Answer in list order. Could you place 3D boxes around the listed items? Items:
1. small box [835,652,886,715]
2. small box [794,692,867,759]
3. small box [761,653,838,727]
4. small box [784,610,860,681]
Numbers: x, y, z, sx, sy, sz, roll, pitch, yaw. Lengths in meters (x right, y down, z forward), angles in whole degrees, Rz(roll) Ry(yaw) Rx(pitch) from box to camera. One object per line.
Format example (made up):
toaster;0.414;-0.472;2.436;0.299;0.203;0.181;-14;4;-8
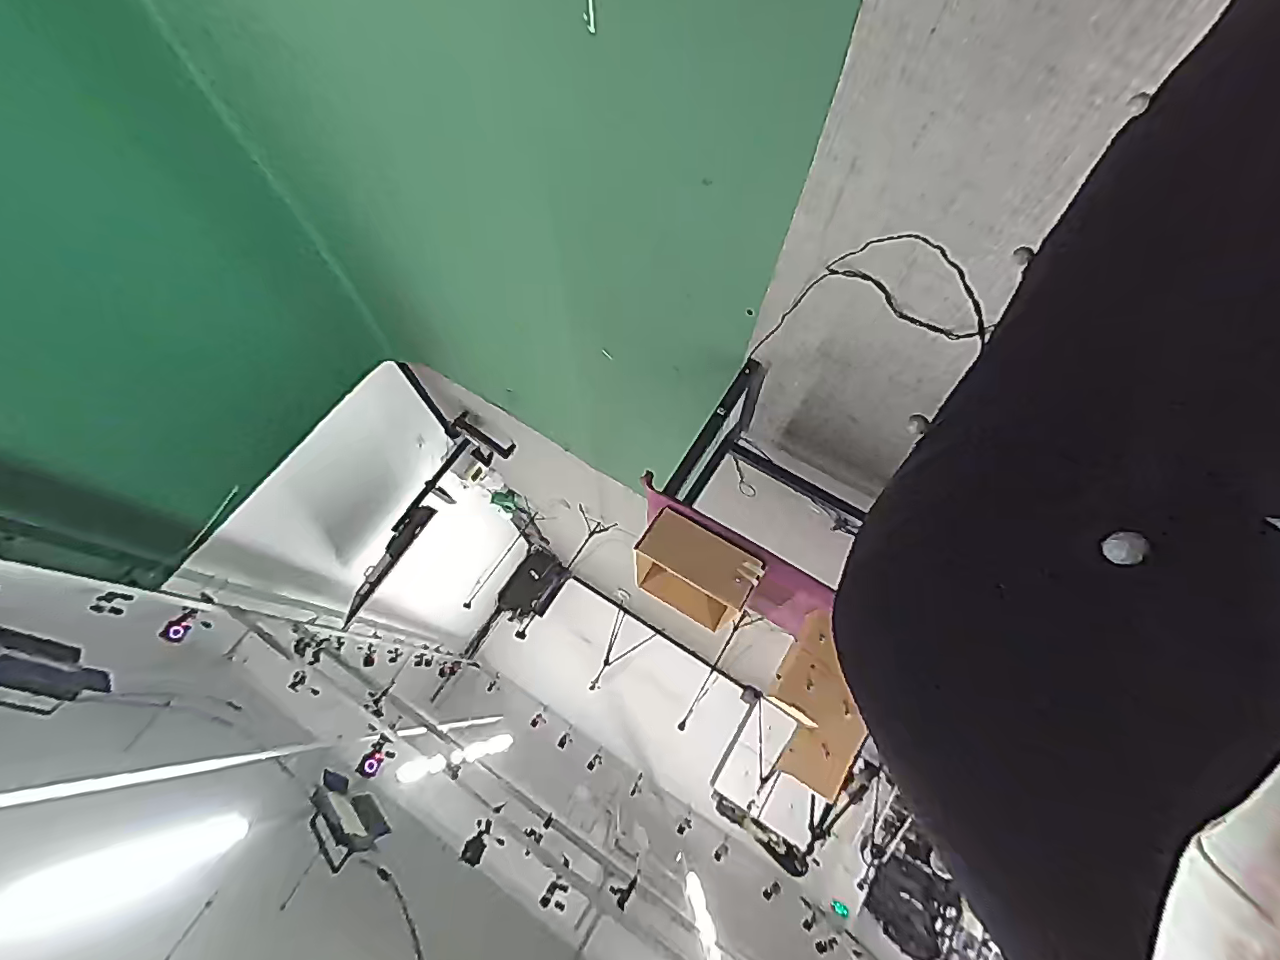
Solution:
small box;0.784;0.745;2.000;0.168;0.176;0.179;30;161;13
small box;0.690;0.871;1.952;0.168;0.176;0.179;31;161;9
small box;0.525;0.685;1.773;0.168;0.176;0.179;32;161;12
small box;0.614;0.556;1.821;0.168;0.176;0.179;31;163;12
